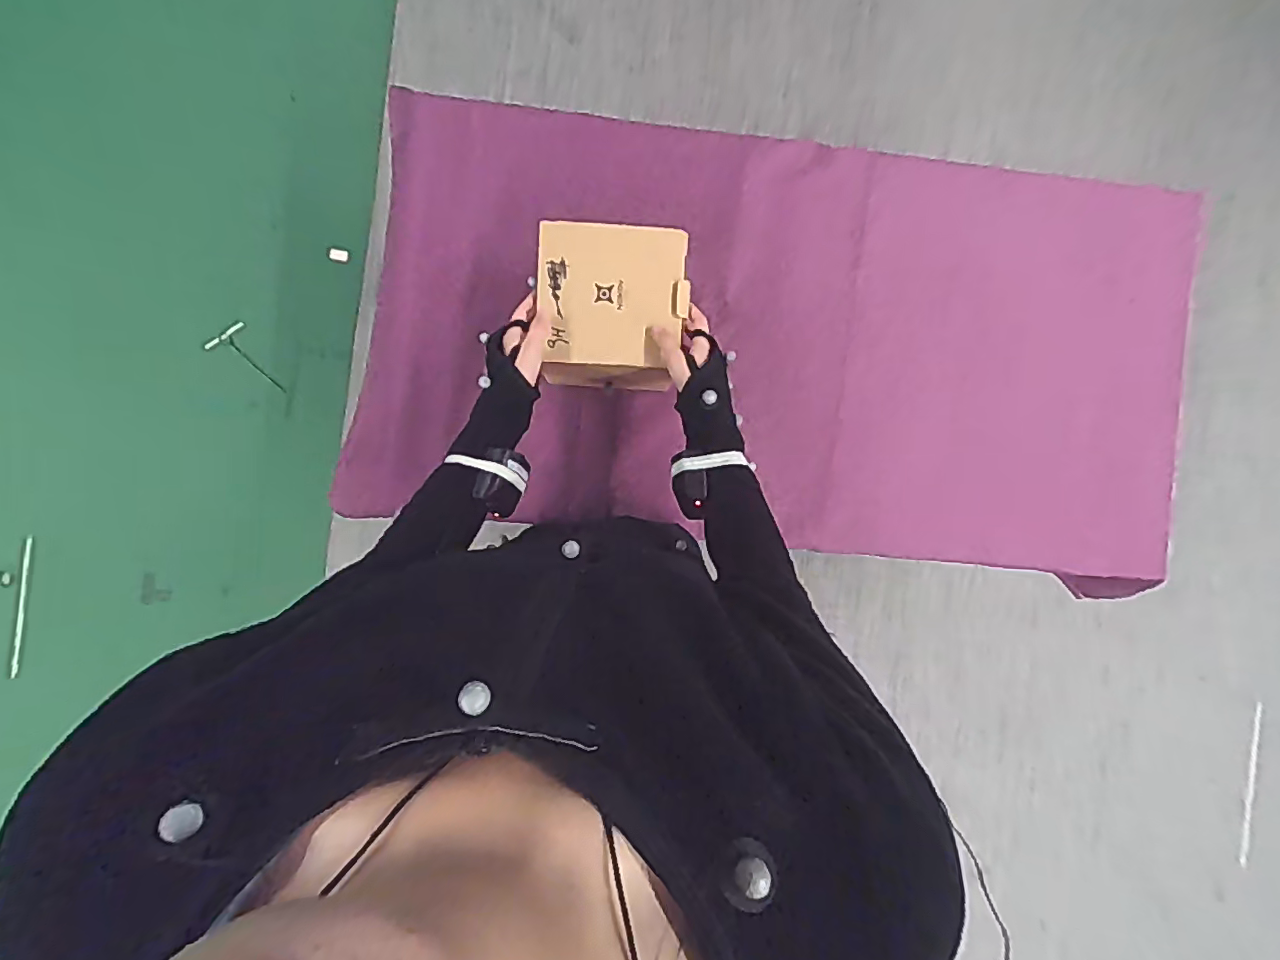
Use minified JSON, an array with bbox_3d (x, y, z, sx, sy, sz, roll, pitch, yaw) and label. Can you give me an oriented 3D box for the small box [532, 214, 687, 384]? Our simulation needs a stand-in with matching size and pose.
[{"bbox_3d":[-0.042,-0.224,0.714,0.179,0.176,0.168,3,91,-4],"label":"small box"}]
